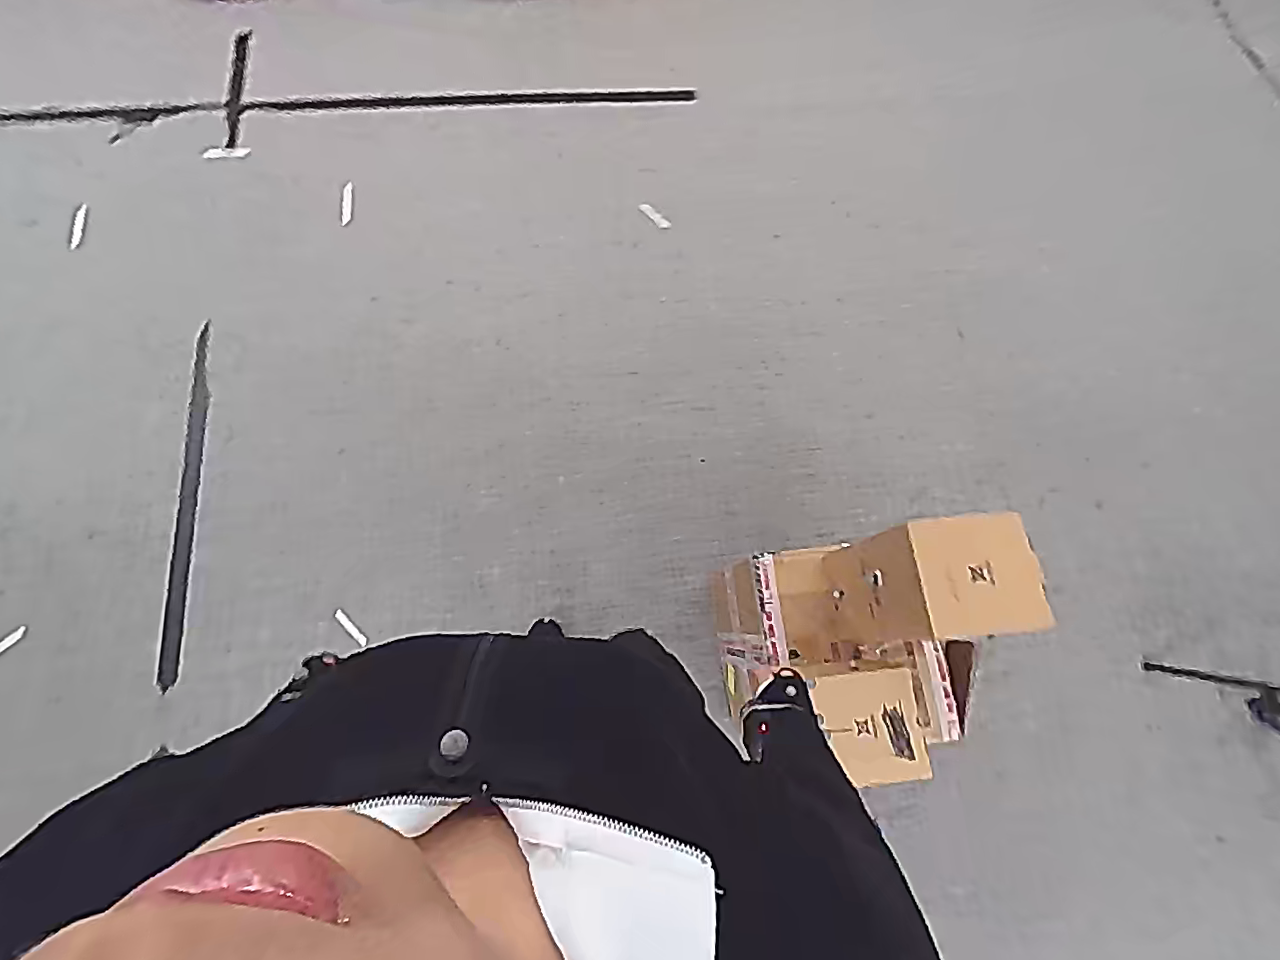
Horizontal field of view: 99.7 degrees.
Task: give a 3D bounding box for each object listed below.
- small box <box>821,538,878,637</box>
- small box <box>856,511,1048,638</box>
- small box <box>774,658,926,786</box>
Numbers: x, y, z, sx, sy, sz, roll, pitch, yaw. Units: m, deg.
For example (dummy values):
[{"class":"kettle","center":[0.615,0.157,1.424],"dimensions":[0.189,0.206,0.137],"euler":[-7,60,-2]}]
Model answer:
[{"class":"small box","center":[0.458,0.195,0.989],"dimensions":[0.179,0.176,0.168],"euler":[-5,73,-4]},{"class":"small box","center":[0.464,0.151,0.833],"dimensions":[0.179,0.176,0.168],"euler":[-5,73,-3]},{"class":"small box","center":[0.348,0.403,0.927],"dimensions":[0.179,0.176,0.168],"euler":[-5,76,-3]}]
